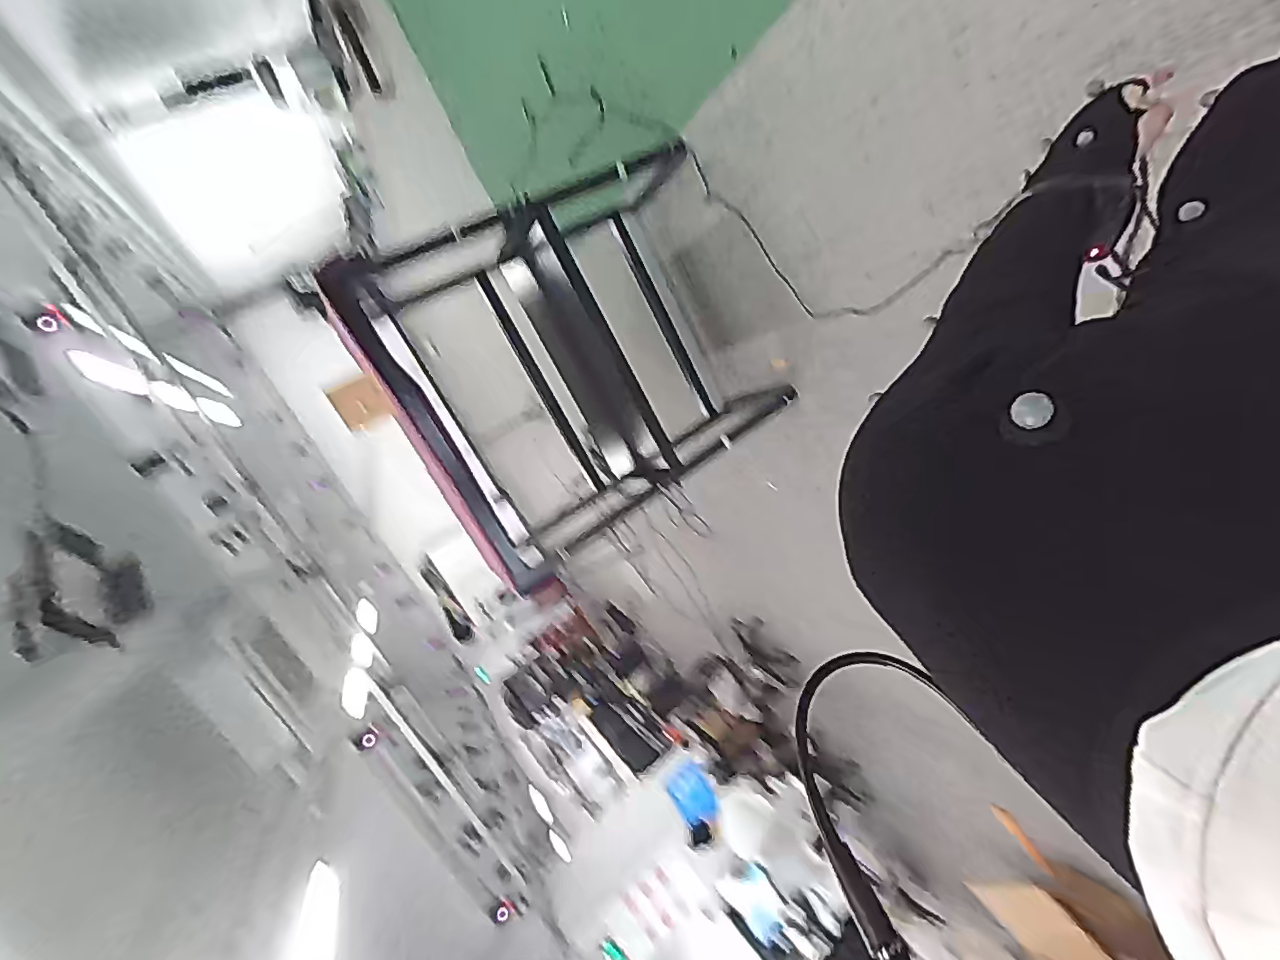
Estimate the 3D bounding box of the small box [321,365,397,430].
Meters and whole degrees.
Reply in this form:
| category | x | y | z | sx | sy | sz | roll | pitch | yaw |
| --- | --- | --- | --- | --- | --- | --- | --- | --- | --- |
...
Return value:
| category | x | y | z | sx | sy | sz | roll | pitch | yaw |
| --- | --- | --- | --- | --- | --- | --- | --- | --- | --- |
| small box | -0.954 | -0.282 | 1.850 | 0.168 | 0.176 | 0.179 | 63 | 160 | -16 |
